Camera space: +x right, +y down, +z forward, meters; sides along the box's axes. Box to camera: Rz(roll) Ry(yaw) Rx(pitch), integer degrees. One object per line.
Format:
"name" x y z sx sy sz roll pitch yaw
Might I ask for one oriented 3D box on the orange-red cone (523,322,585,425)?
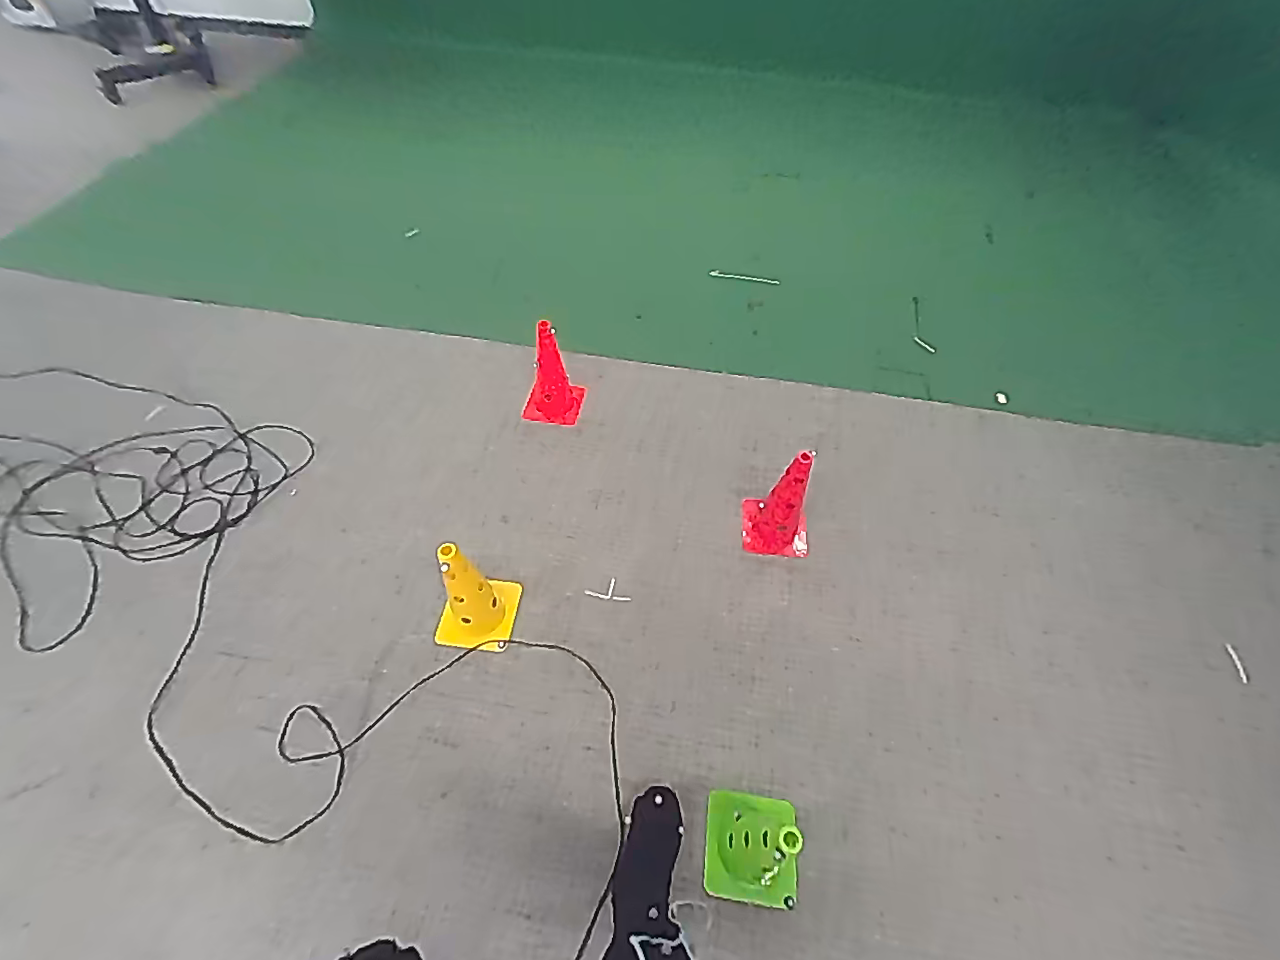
"orange-red cone" -0.311 -0.382 1.843 0.198 0.360 0.199 8 55 5

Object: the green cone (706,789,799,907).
"green cone" 0.252 0.710 1.065 0.202 0.368 0.200 6 53 4

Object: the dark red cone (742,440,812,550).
"dark red cone" 0.422 0.028 1.539 0.202 0.394 0.201 4 52 1
